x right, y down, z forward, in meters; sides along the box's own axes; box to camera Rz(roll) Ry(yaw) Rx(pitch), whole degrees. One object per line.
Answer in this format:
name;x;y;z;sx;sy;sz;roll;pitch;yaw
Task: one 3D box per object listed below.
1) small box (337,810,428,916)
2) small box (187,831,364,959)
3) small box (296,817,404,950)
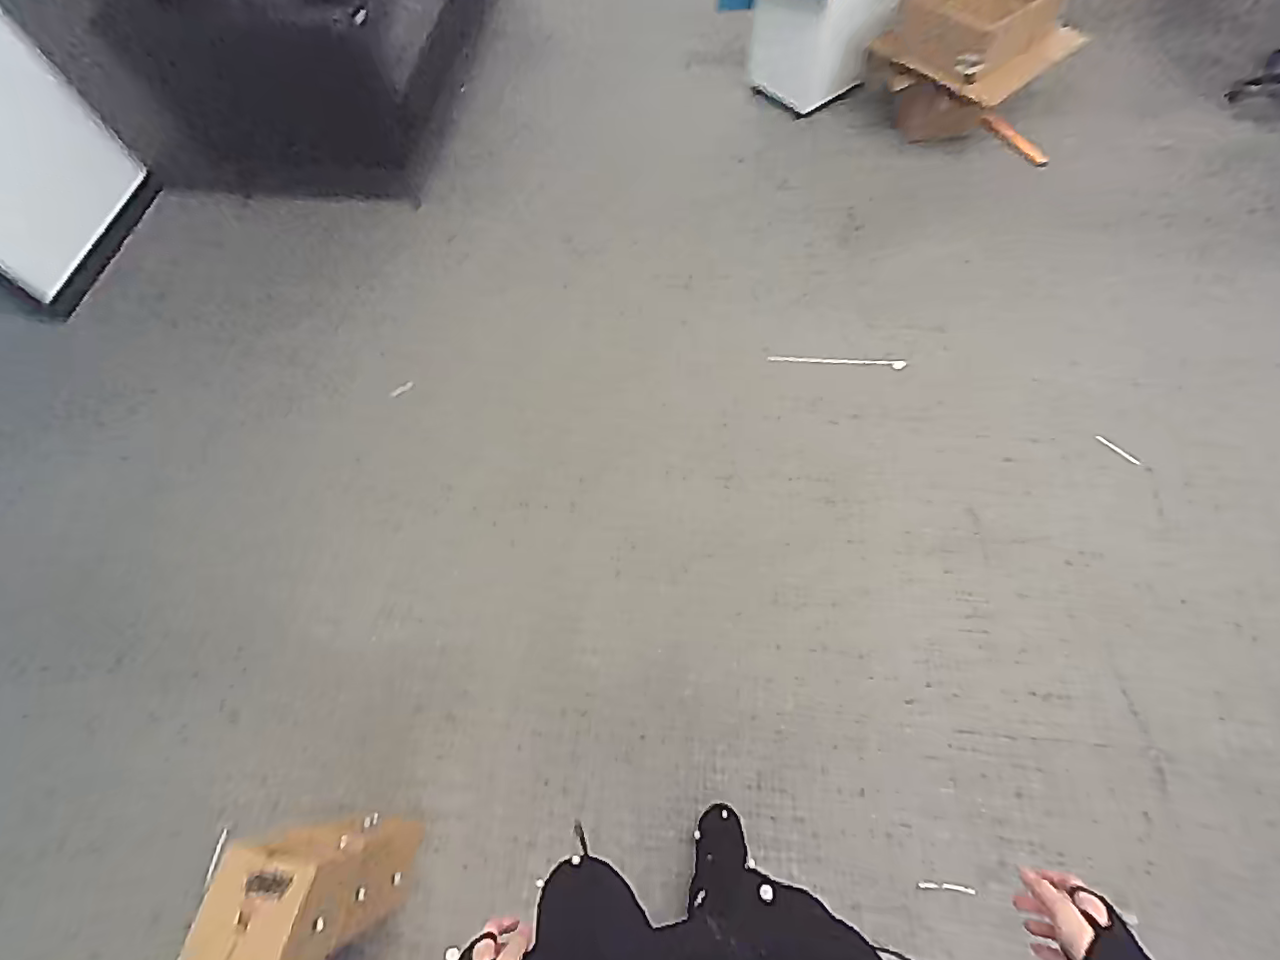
small box;-0.618;0.887;1.255;0.168;0.176;0.179;5;64;6
small box;-0.626;0.748;0.960;0.168;0.176;0.179;9;65;8
small box;-0.617;0.814;1.109;0.168;0.176;0.179;7;64;7
